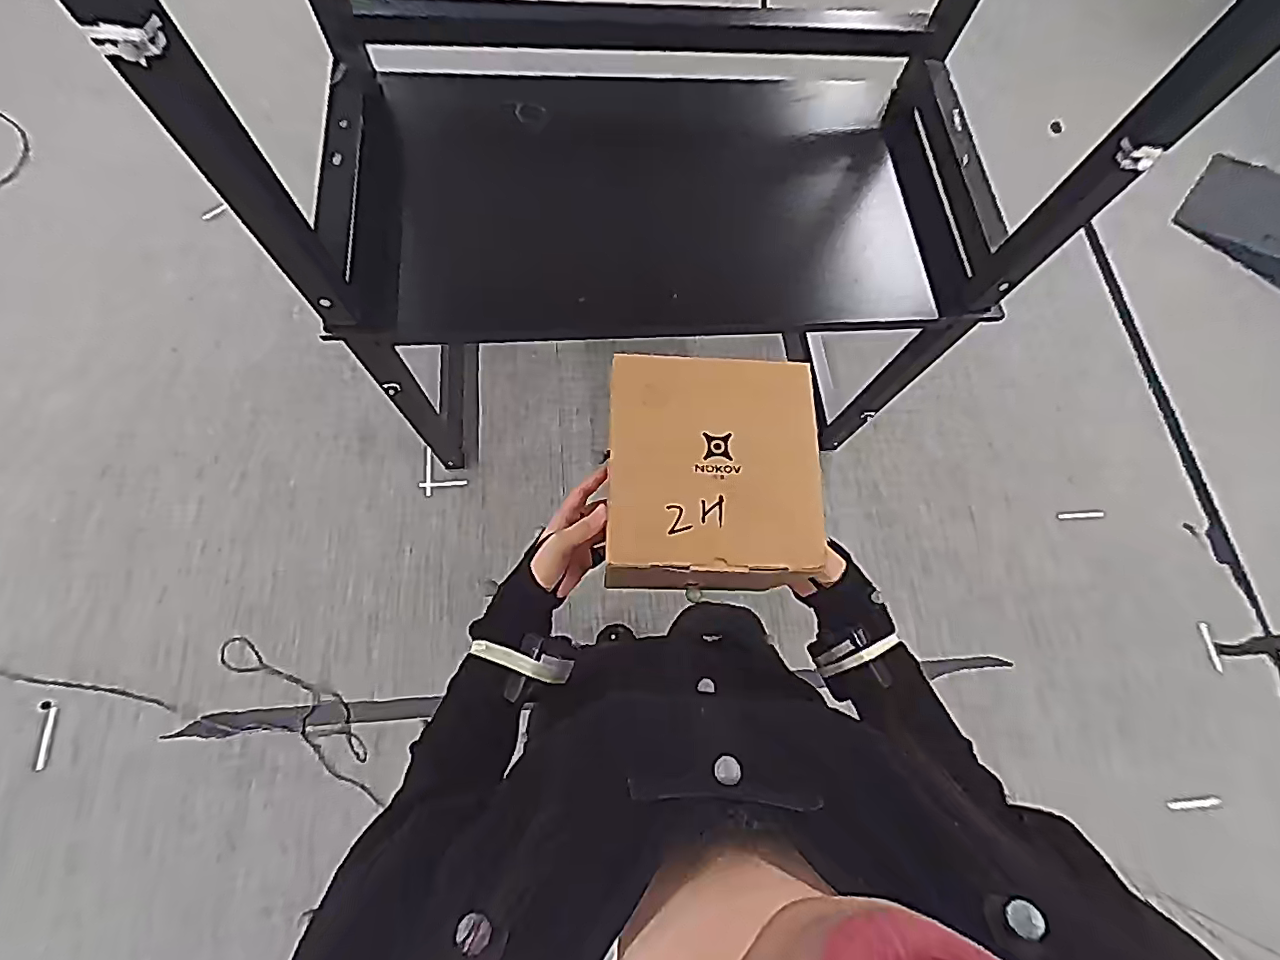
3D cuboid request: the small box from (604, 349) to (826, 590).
[{"bbox_3d":[0.054,0.002,0.497,0.168,0.176,0.179,2,73,-3],"label":"small box"}]
